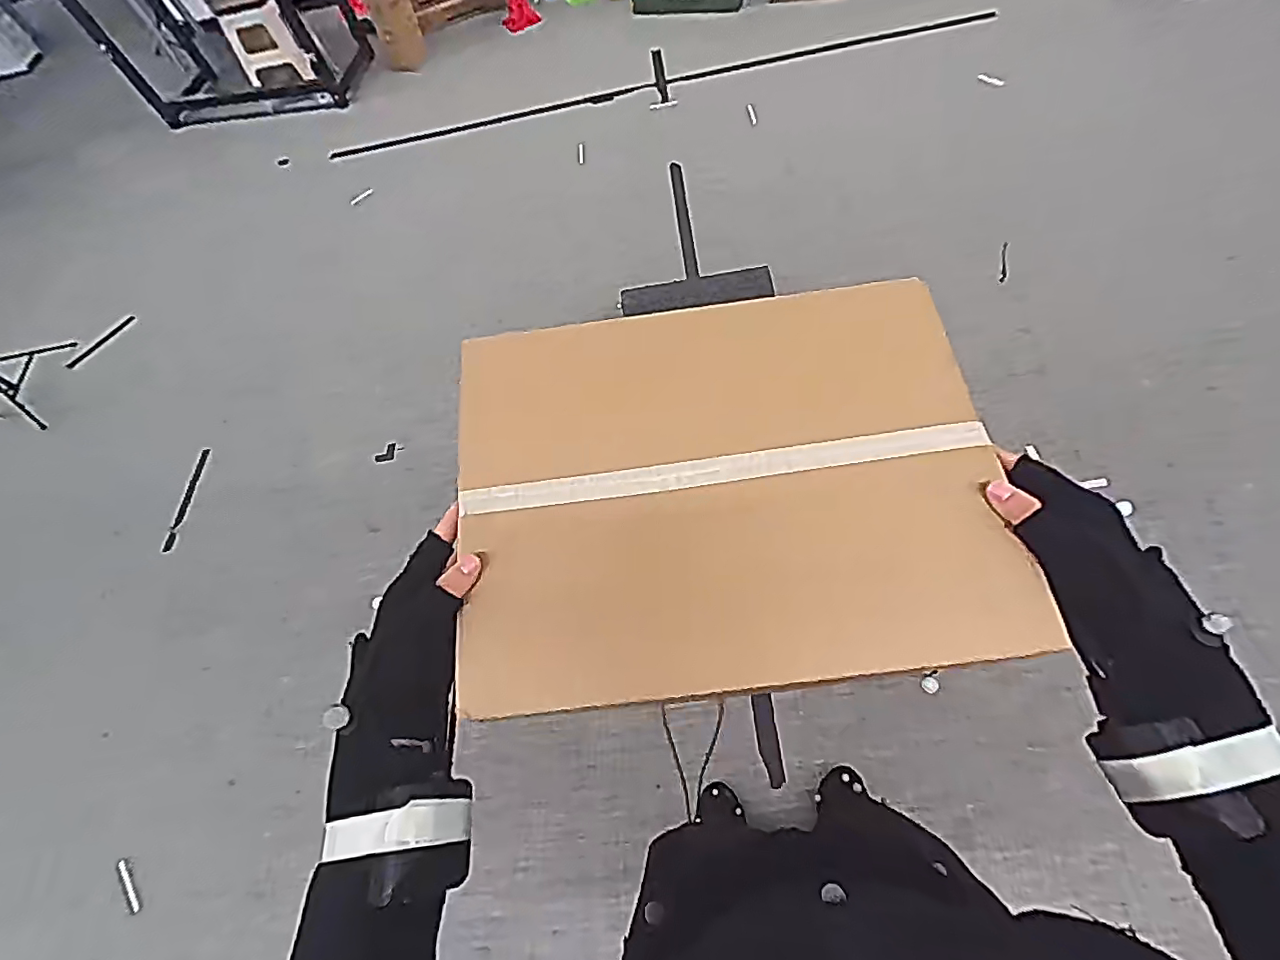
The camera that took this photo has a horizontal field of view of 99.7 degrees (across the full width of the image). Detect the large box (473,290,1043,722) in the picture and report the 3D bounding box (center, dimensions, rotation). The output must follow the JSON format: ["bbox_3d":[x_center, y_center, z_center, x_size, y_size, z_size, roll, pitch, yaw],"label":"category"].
[{"bbox_3d":[0.077,0.054,0.565,0.408,0.320,0.320,-8,67,2],"label":"large box"}]
